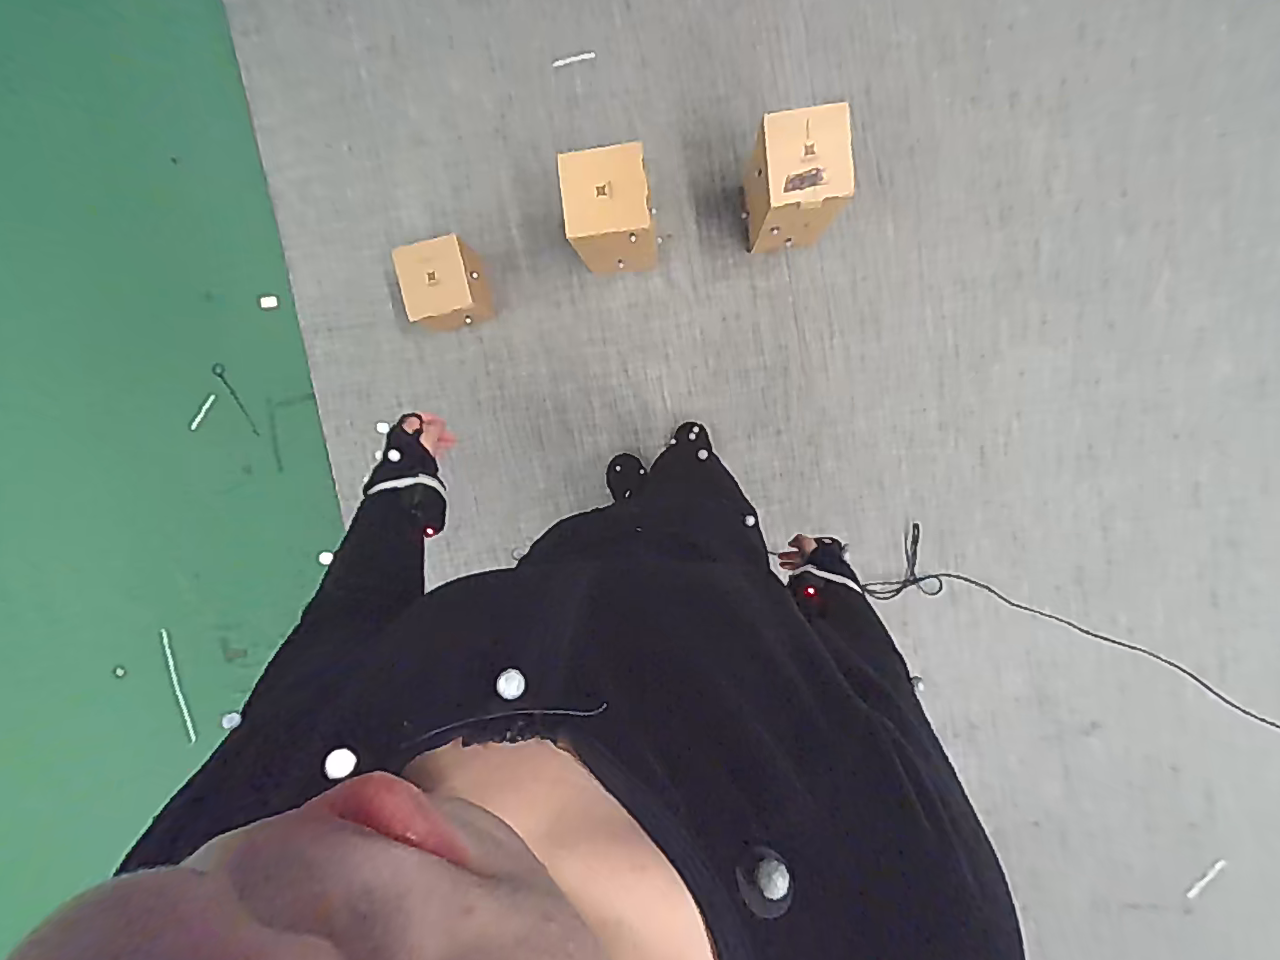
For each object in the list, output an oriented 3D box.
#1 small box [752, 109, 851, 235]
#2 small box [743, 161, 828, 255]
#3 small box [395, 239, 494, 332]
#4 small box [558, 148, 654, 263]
[{"bbox_3d":[0.333,-0.635,1.141,0.168,0.176,0.179,-6,95,4],"label":"small box"},{"bbox_3d":[0.346,-0.658,1.304,0.168,0.176,0.179,-7,96,4],"label":"small box"},{"bbox_3d":[-0.491,-0.486,1.382,0.168,0.176,0.179,-11,95,4],"label":"small box"},{"bbox_3d":[-0.068,-0.585,1.176,0.179,0.176,0.168,-6,95,5],"label":"small box"}]
